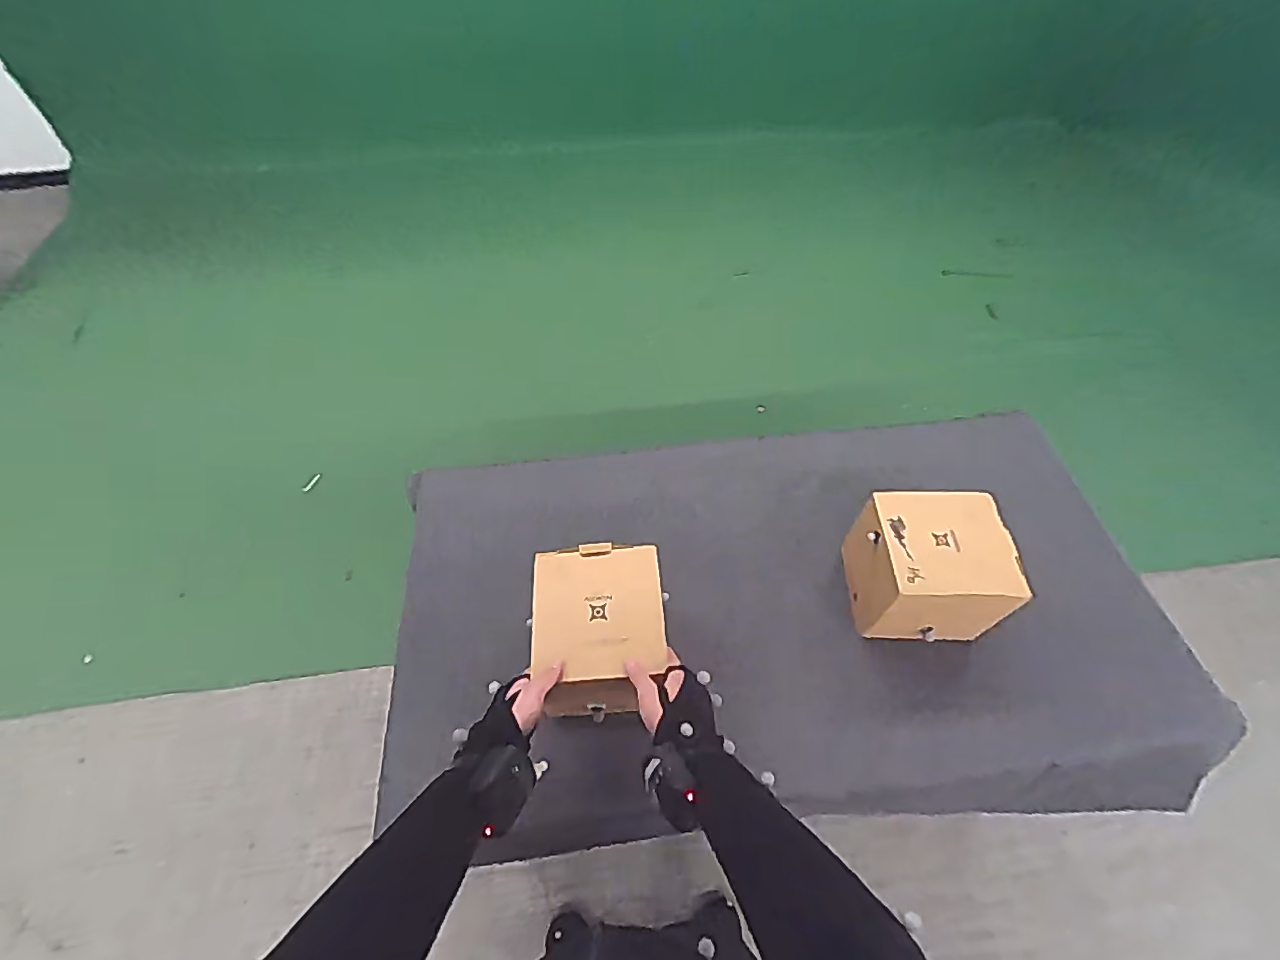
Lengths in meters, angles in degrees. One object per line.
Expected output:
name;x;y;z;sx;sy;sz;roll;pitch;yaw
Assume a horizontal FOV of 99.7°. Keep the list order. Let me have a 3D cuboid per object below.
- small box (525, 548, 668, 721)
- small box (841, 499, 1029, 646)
small box;-0.051;0.210;0.728;0.168;0.176;0.179;-3;54;0
small box;0.429;0.144;0.821;0.179;0.176;0.168;1;55;1
